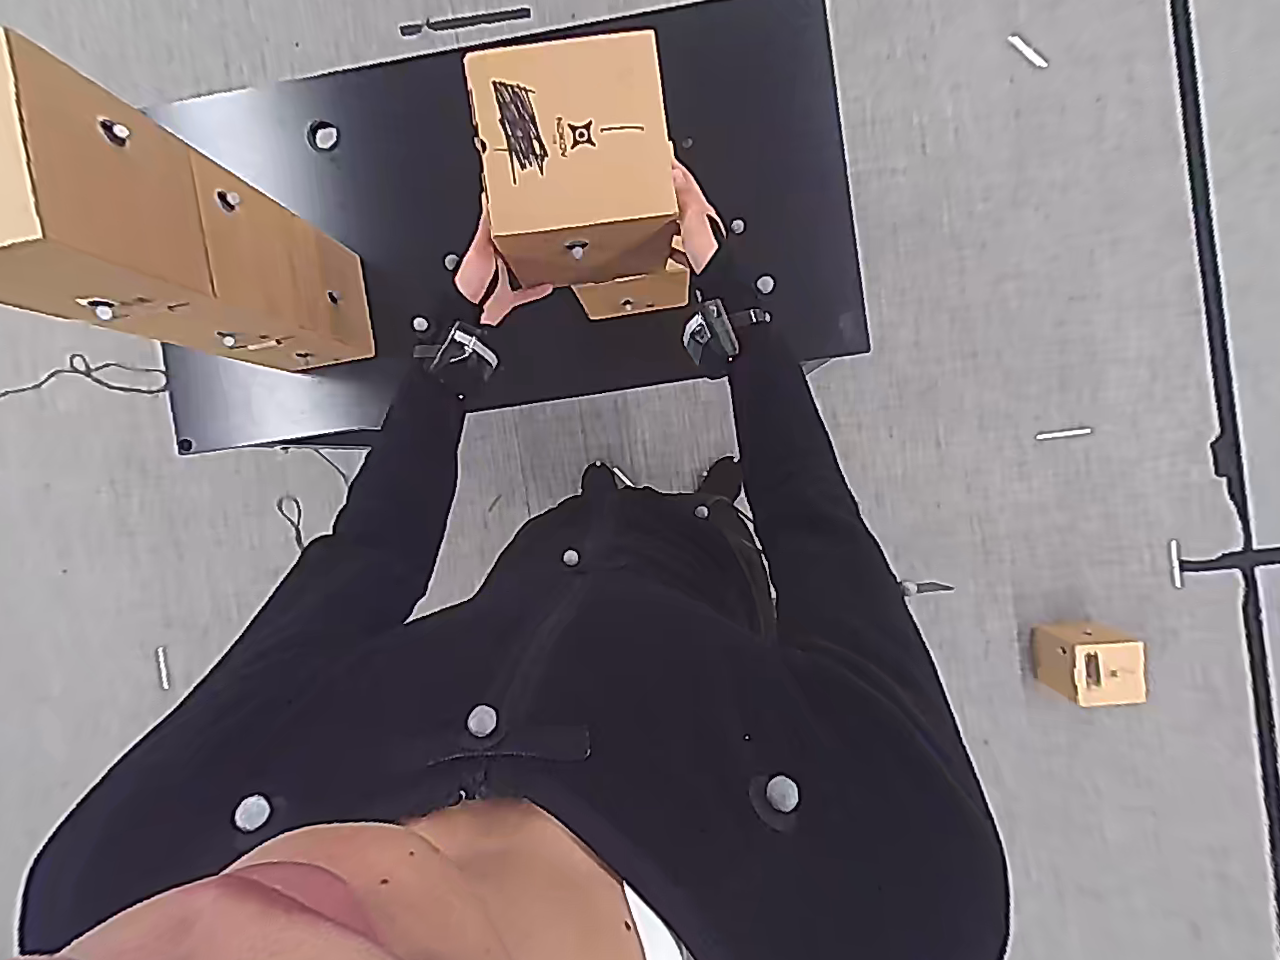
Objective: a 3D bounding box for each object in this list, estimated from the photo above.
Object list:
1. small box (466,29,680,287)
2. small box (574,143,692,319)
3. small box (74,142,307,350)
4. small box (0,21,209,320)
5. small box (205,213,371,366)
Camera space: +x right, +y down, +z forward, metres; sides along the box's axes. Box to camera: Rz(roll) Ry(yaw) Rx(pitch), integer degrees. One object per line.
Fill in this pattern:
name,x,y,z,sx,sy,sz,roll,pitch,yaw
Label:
small box,-0.061,-0.314,0.563,0.179,0.176,0.168,-8,94,-2
small box,-0.017,-0.360,0.810,0.168,0.176,0.179,-8,92,4
small box,-0.557,-0.276,0.676,0.168,0.176,0.179,-9,91,4
small box,-0.564,-0.270,0.514,0.168,0.176,0.179,-9,92,5
small box,-0.548,-0.280,0.841,0.168,0.176,0.179,-9,92,3
